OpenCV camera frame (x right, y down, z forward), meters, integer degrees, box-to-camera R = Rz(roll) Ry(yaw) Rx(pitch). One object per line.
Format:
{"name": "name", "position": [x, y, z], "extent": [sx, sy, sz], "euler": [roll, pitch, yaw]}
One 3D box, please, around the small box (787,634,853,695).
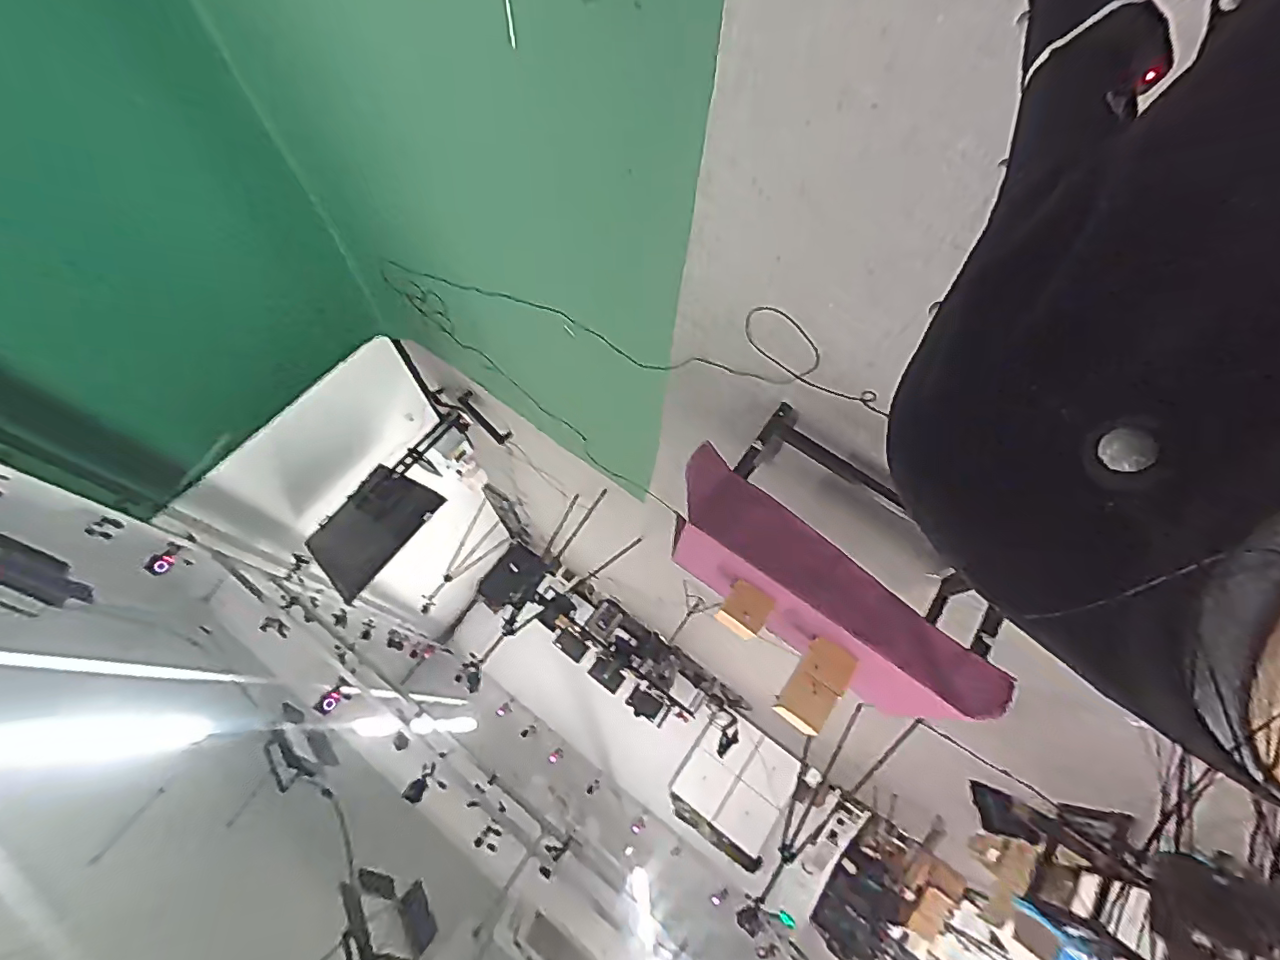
{"name": "small box", "position": [0.740, 0.759, 2.215], "extent": [0.179, 0.176, 0.168], "euler": [35, 160, 13]}

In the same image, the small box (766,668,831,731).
{"name": "small box", "position": [0.635, 0.877, 2.163], "extent": [0.168, 0.176, 0.179], "euler": [35, 160, 13]}

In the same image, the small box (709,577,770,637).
{"name": "small box", "position": [0.423, 0.536, 2.285], "extent": [0.179, 0.176, 0.168], "euler": [37, 159, 9]}
